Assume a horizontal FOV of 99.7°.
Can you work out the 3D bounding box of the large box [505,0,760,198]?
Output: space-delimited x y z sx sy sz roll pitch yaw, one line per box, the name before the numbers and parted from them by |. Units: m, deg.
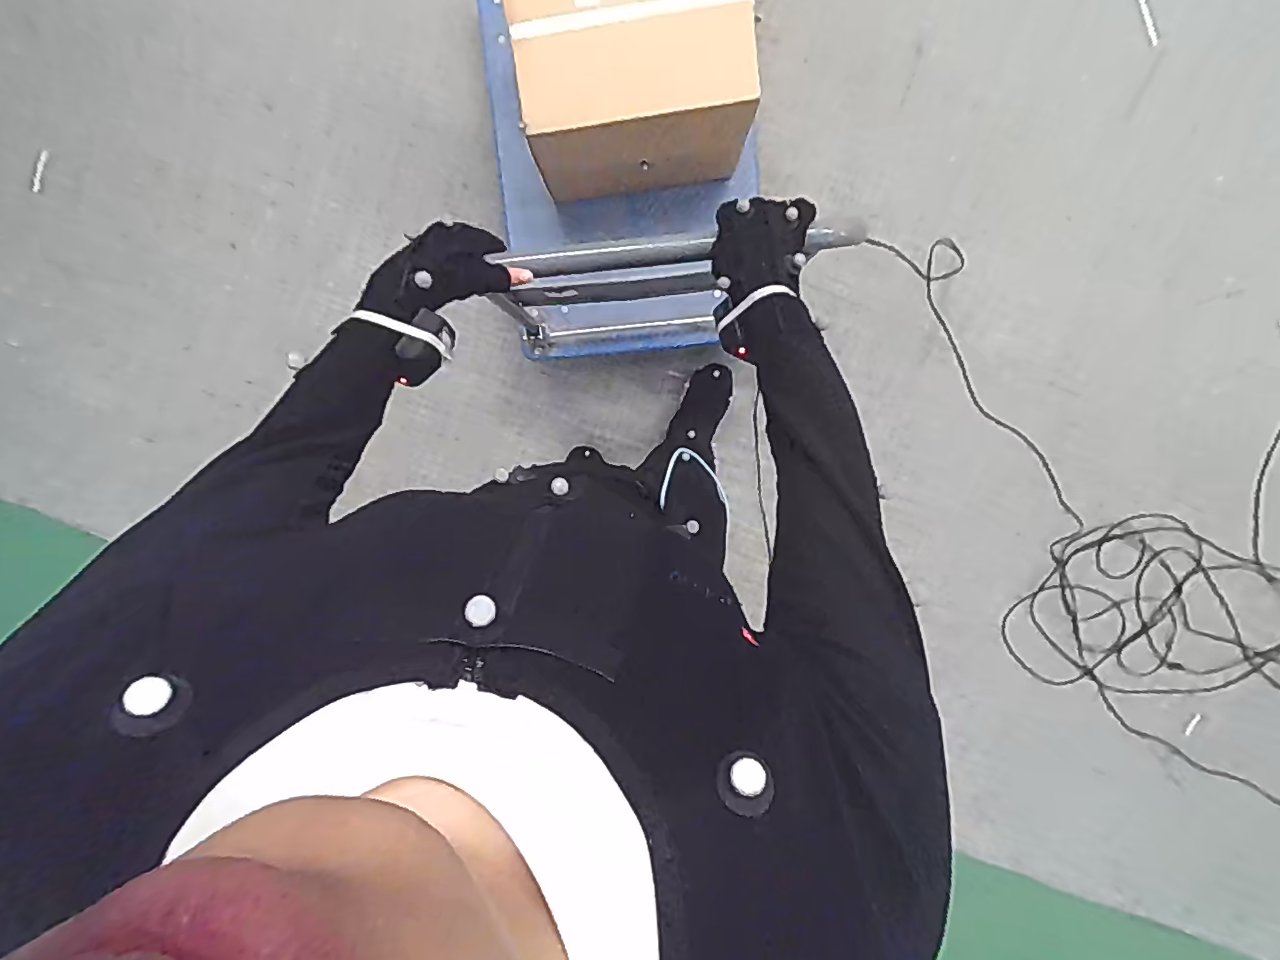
large box | -0.015 -0.785 1.039 0.408 0.320 0.320 -9 97 2
